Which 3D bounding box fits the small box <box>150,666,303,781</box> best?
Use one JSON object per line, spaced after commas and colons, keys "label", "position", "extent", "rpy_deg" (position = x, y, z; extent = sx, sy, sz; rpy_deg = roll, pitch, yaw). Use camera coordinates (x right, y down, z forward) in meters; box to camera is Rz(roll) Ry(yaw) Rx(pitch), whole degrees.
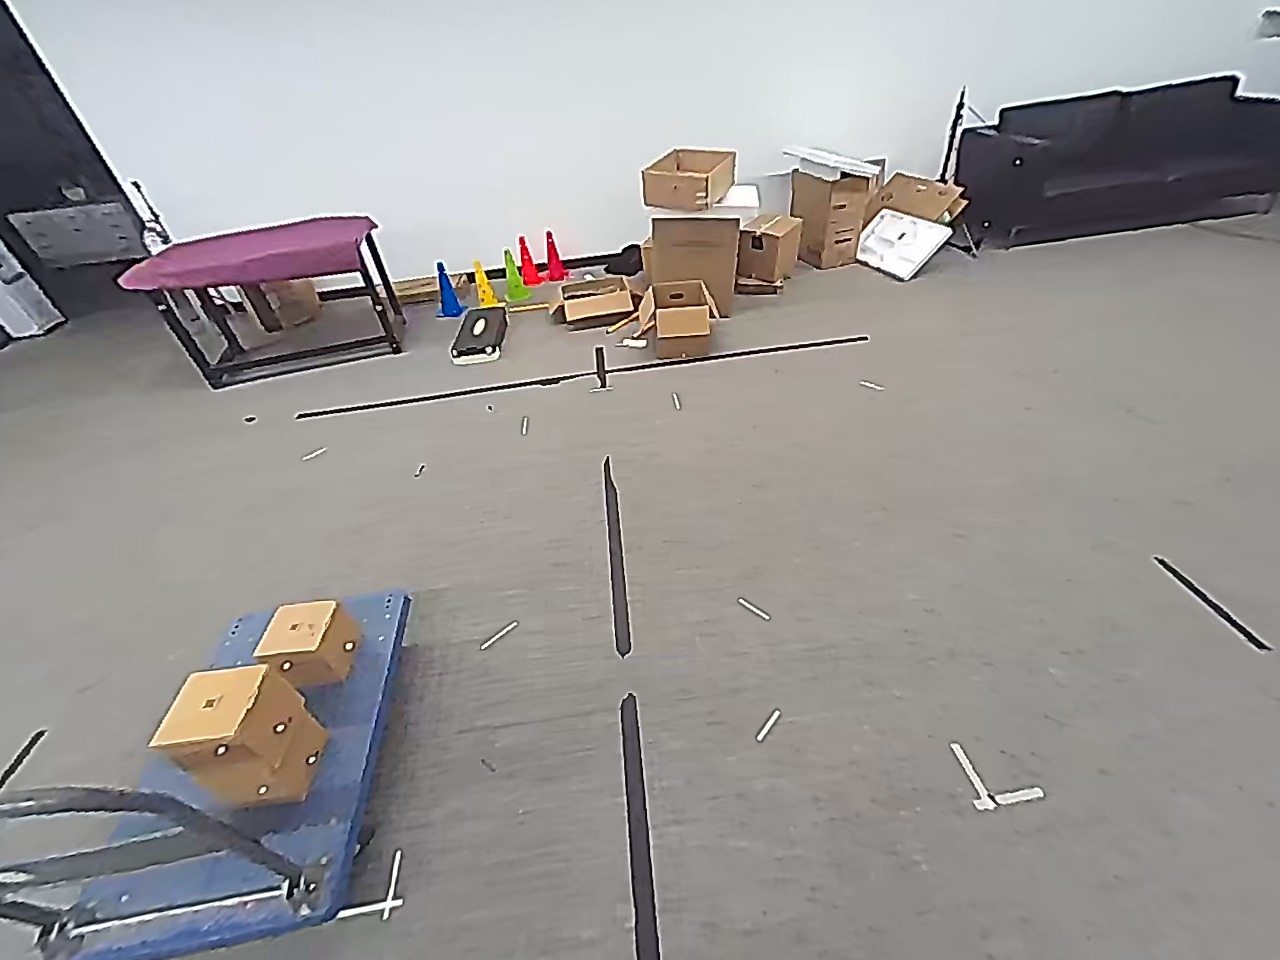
{"label": "small box", "position": [-0.892, 0.538, 1.189], "extent": [0.179, 0.176, 0.168], "rpy_deg": [-7, 39, -2]}

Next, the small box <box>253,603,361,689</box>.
{"label": "small box", "position": [-0.930, 0.472, 1.528], "extent": [0.179, 0.176, 0.168], "rpy_deg": [-6, 40, 0]}
